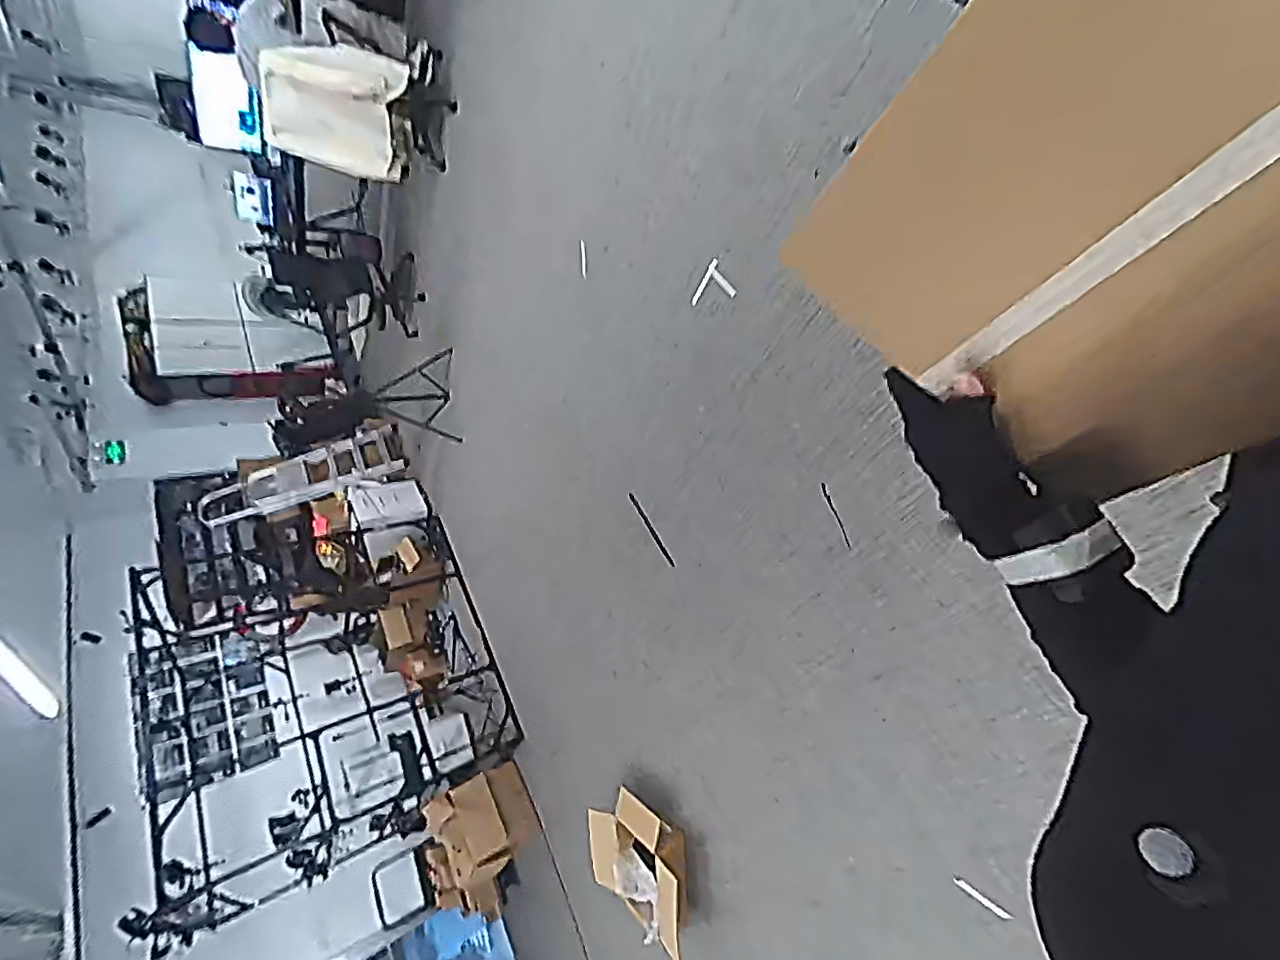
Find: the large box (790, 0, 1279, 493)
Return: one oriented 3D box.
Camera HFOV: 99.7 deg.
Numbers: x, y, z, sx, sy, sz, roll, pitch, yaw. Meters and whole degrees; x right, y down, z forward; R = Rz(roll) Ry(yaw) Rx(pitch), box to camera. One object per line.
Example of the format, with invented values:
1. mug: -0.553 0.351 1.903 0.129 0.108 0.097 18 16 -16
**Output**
1. large box: 0.386 -0.265 0.374 0.320 0.320 0.408 40 142 -2
